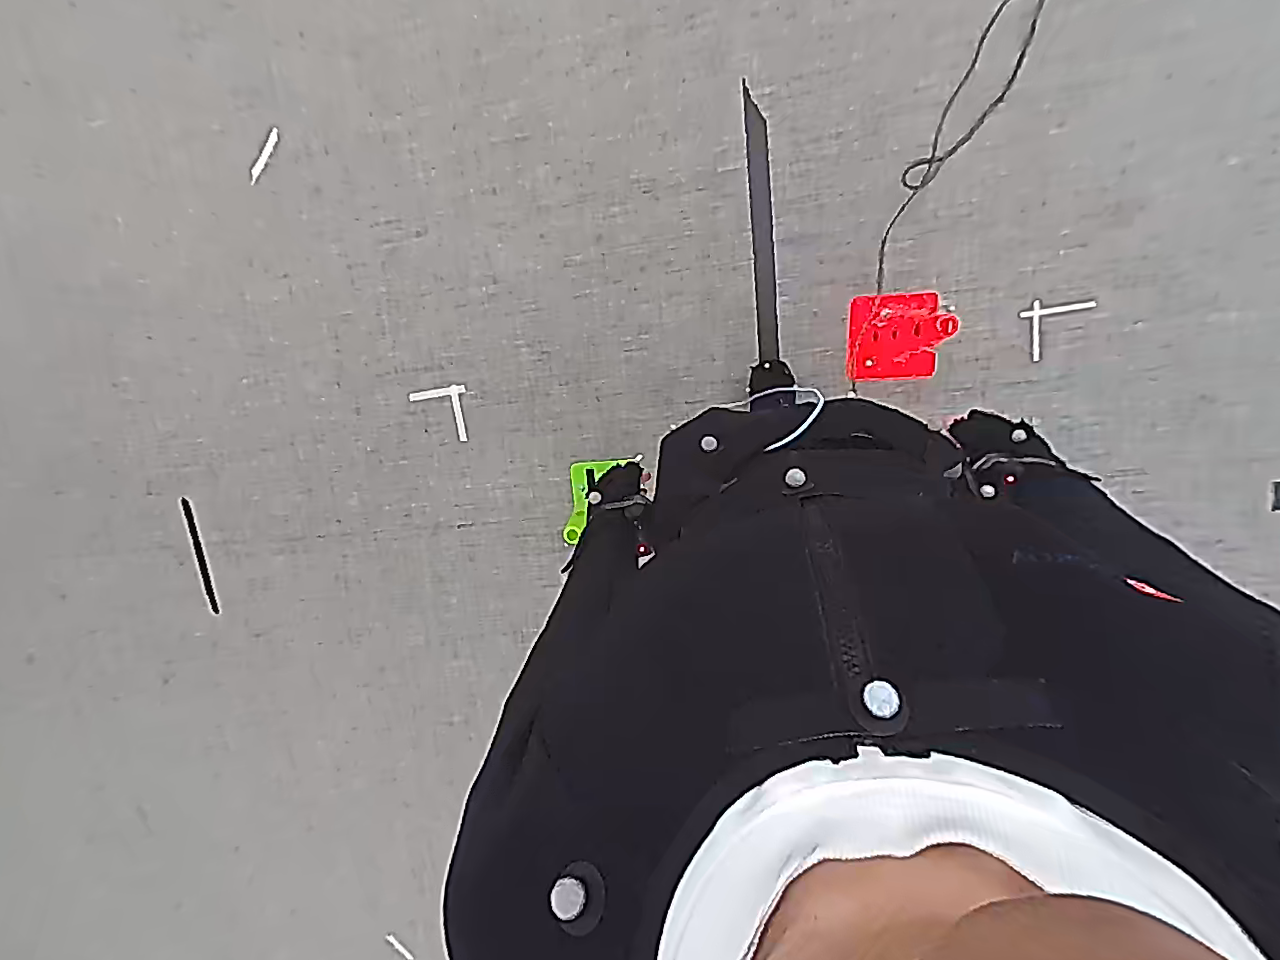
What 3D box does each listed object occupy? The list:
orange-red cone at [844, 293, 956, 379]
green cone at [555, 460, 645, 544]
[{"bbox_3d":[0.569,-0.305,1.123,0.199,0.360,0.198,0,102,9],"label":"orange-red cone"},{"bbox_3d":[-0.124,0.079,1.310,0.202,0.368,0.200,-4,100,12],"label":"green cone"}]
